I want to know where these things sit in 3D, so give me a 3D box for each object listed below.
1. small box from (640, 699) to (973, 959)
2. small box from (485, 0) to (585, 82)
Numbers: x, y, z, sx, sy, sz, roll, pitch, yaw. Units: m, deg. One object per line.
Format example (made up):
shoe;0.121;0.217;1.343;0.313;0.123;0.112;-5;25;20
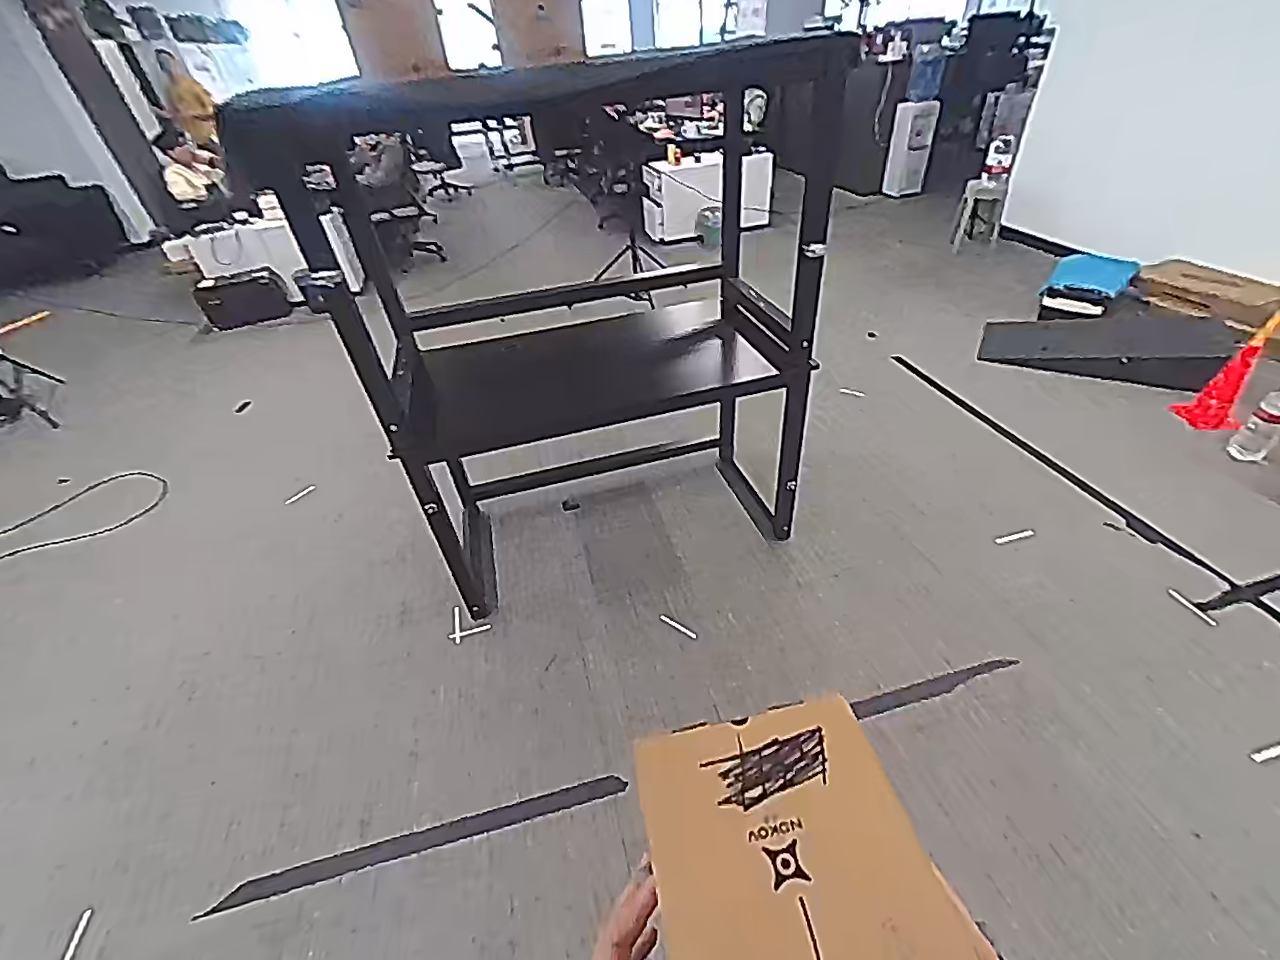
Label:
small box;0.098;0.295;0.393;0.168;0.176;0.179;-11;40;-4
small box;-0.210;-0.902;1.070;0.168;0.176;0.179;-12;38;-9
